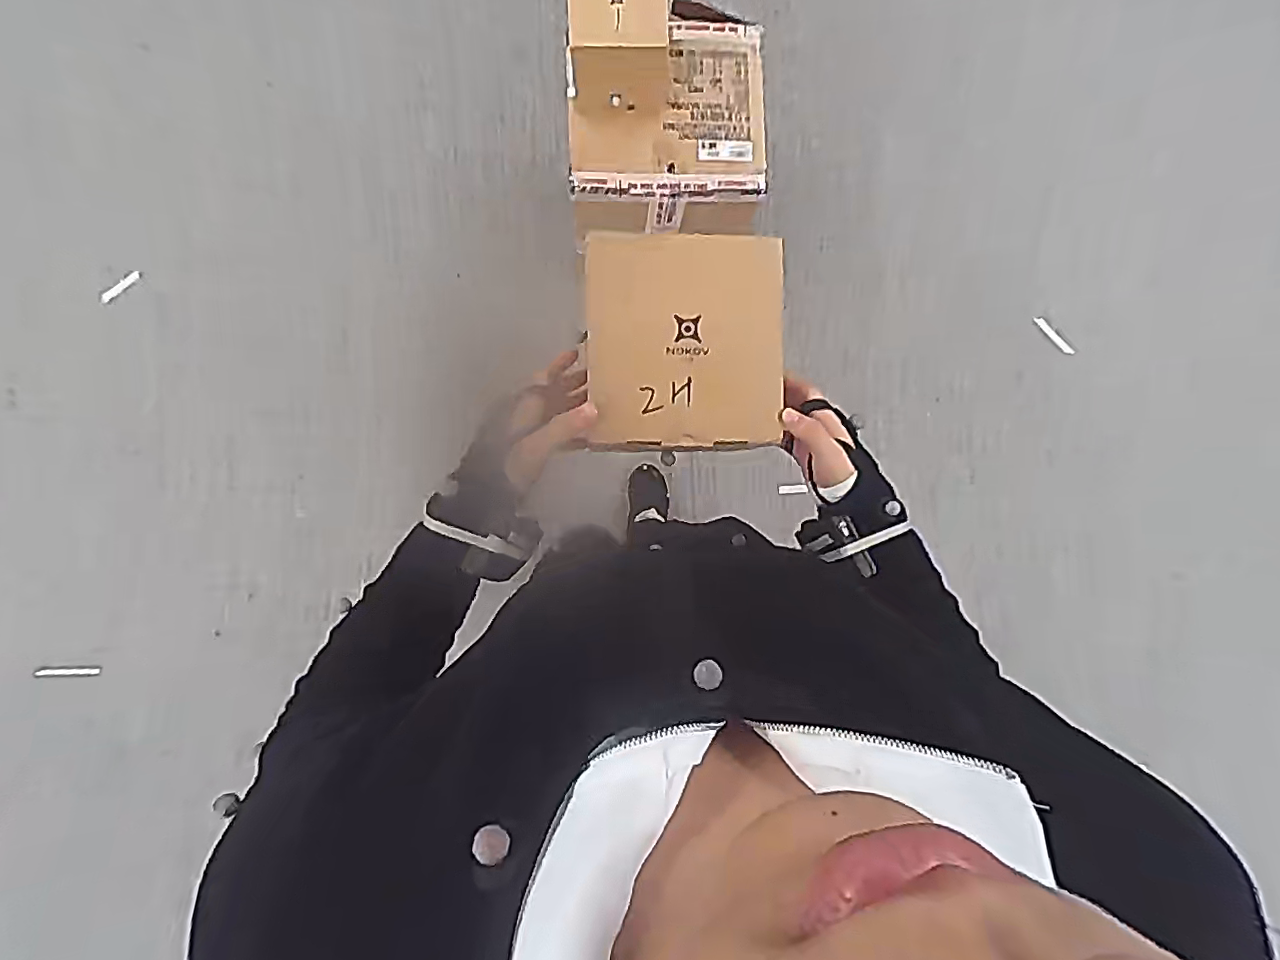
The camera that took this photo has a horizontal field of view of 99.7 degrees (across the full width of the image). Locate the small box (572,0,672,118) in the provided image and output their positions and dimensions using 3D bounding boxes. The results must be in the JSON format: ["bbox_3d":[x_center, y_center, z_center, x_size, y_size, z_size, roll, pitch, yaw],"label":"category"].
[{"bbox_3d":[-0.032,-0.788,0.963,0.168,0.176,0.179,-1,90,-1],"label":"small box"}]
